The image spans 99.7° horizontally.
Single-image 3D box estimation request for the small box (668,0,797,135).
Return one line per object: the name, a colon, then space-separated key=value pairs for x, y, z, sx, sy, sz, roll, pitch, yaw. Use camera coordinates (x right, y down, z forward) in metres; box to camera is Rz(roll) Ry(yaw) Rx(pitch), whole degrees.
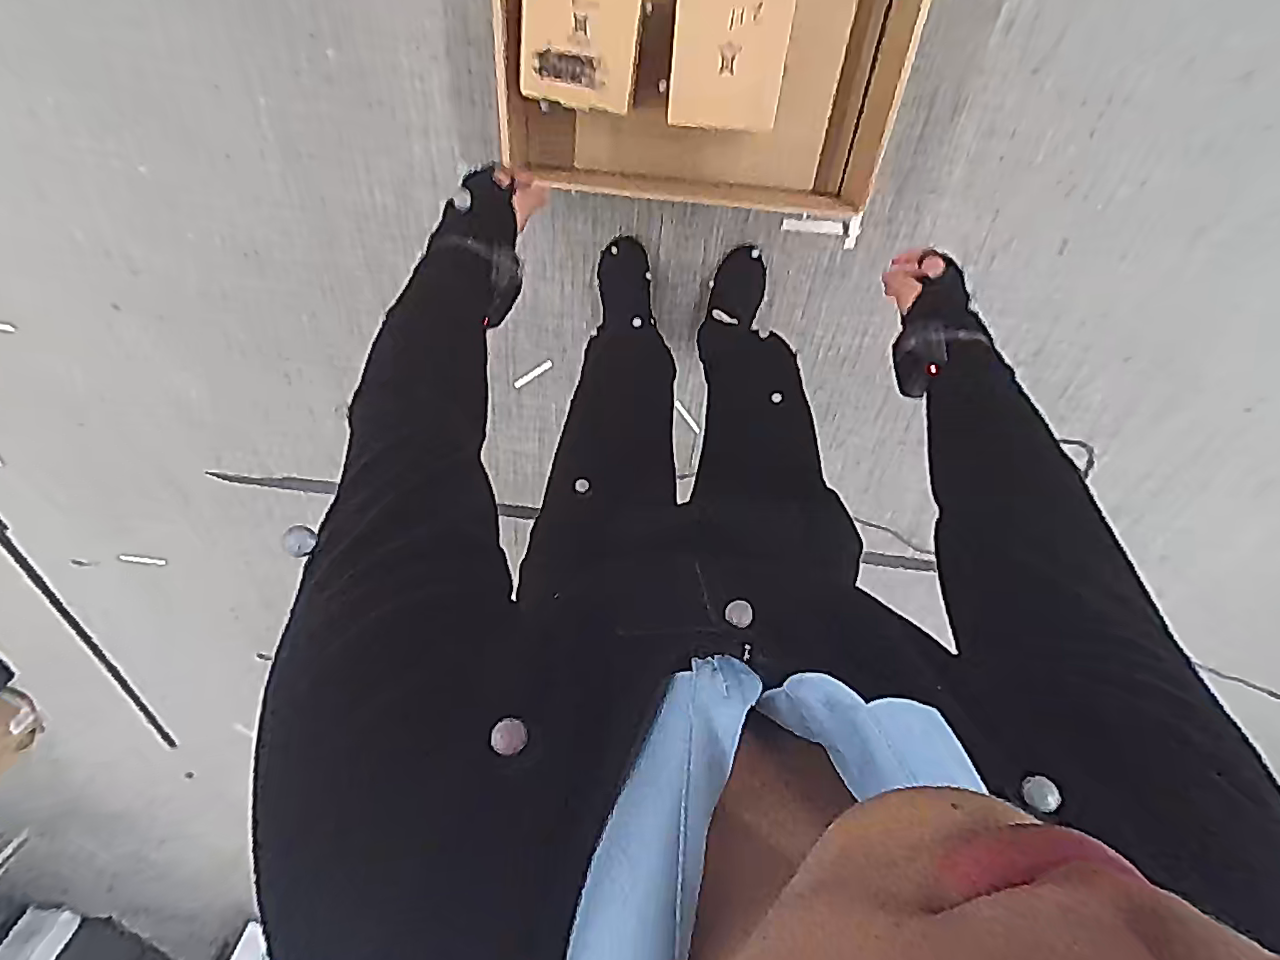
small box: x=0.136 y=-0.659 z=0.848 sx=0.168 sy=0.176 sz=0.179 roll=5 pitch=126 yaw=0
